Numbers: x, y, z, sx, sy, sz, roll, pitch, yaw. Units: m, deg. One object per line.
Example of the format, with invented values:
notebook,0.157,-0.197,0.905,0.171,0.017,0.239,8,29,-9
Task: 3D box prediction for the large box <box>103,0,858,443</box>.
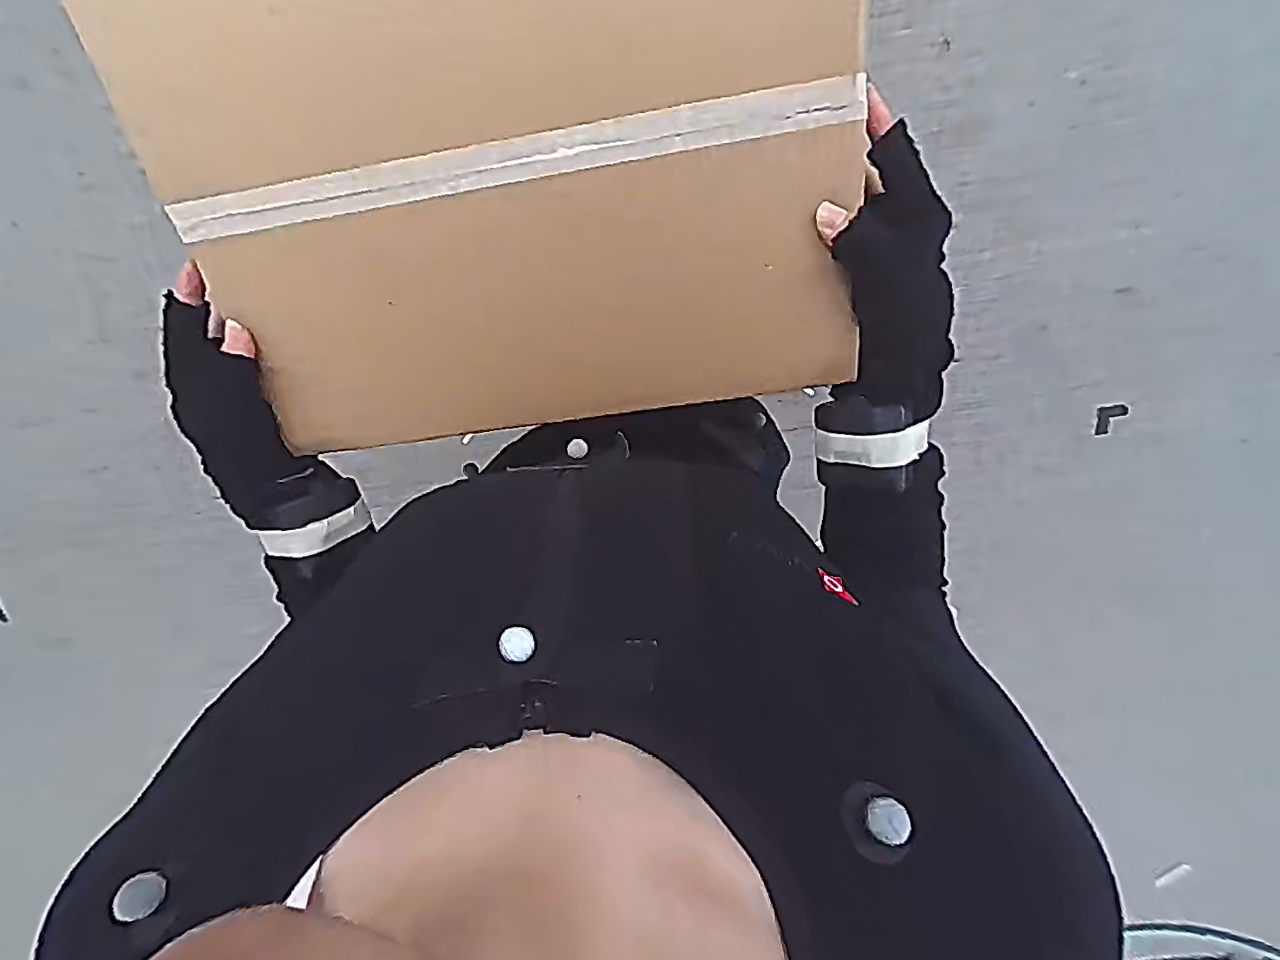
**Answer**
large box,-0.072,-0.254,0.451,0.408,0.320,0.320,-7,118,5
